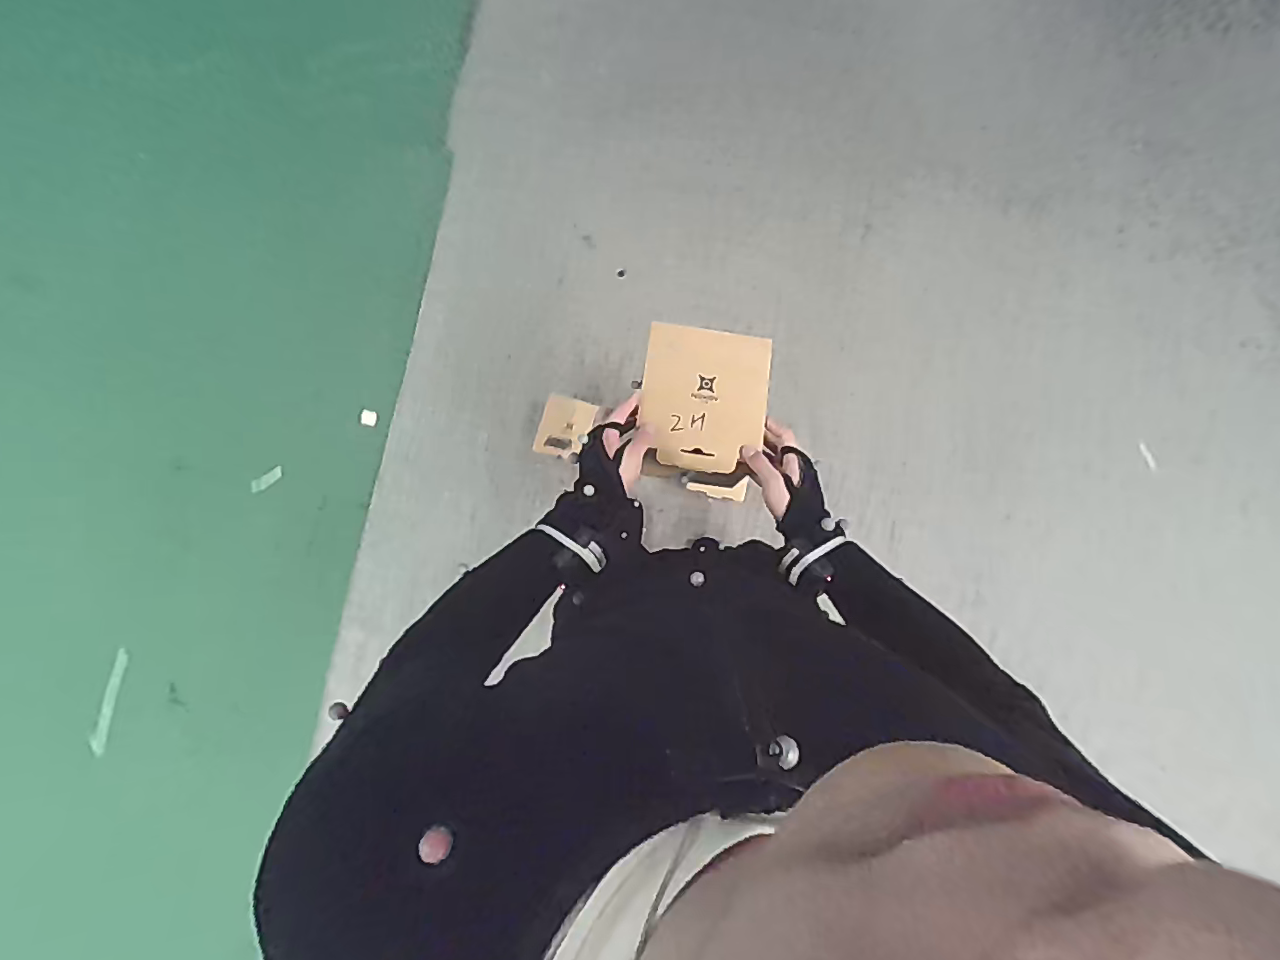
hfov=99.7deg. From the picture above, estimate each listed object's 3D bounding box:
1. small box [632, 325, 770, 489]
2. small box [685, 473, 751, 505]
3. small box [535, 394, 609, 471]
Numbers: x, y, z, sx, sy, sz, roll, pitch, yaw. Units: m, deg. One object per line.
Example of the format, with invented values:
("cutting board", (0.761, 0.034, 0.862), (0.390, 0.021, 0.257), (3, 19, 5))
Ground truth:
("small box", (0.079, -0.096, 0.780), (0.168, 0.176, 0.179), (7, 78, -1))
("small box", (0.230, -0.029, 1.576), (0.168, 0.176, 0.179), (15, 87, 2))
("small box", (-0.194, -0.133, 1.609), (0.168, 0.176, 0.179), (18, 86, 1))
